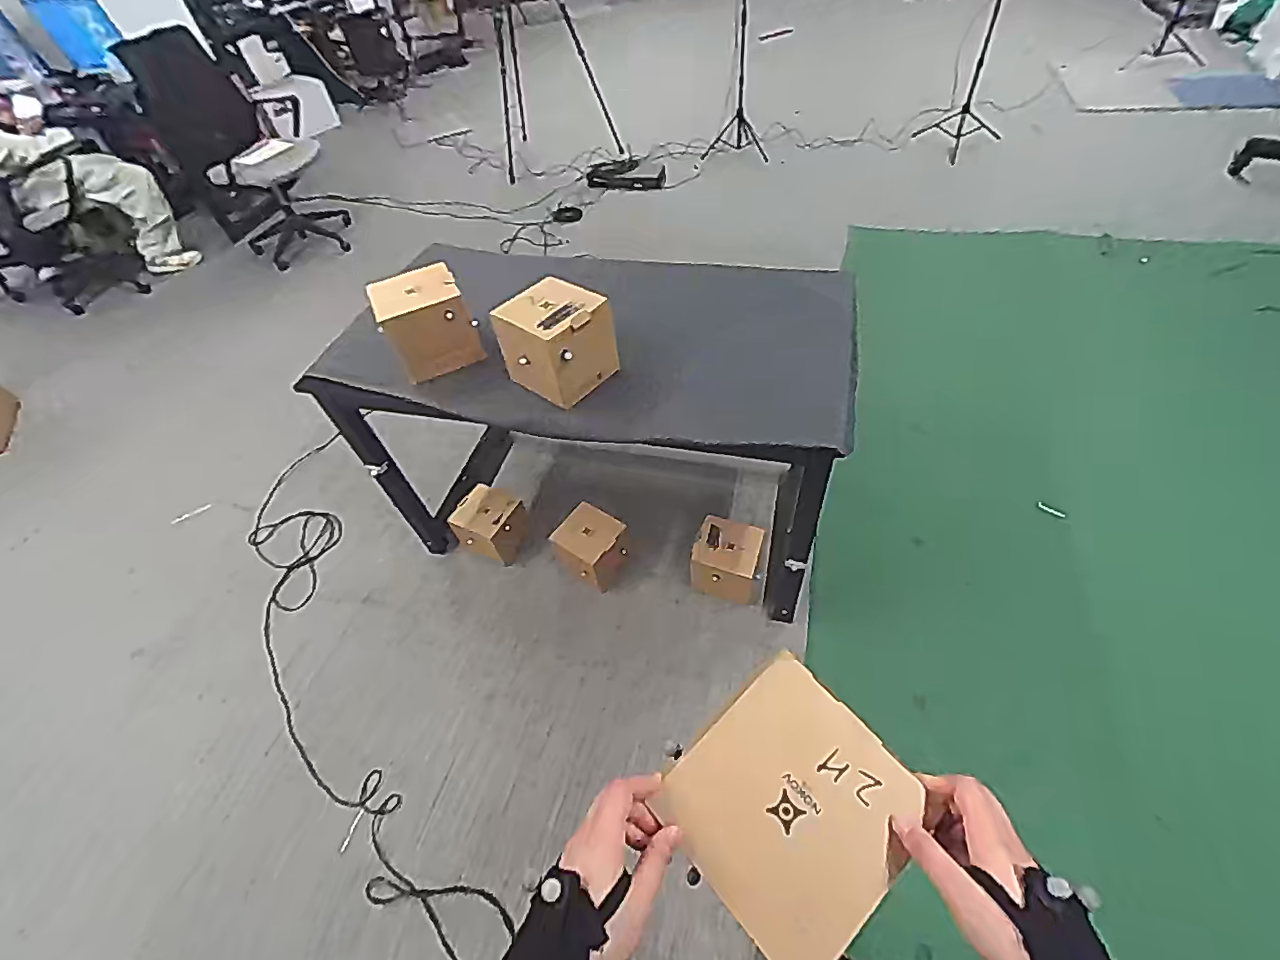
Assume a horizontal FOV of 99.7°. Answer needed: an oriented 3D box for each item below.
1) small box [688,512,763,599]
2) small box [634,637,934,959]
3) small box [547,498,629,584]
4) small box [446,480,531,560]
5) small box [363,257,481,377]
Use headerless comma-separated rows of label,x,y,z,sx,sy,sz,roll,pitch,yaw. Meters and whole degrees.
small box,0.248,0.222,1.570,0.179,0.176,0.168,14,54,16
small box,0.114,0.277,0.493,0.179,0.176,0.168,-39,70,-17
small box,-0.151,0.192,1.646,0.179,0.176,0.168,25,57,27
small box,-0.480,0.132,1.738,0.179,0.176,0.168,18,55,22
small box,-0.476,-0.355,1.192,0.179,0.176,0.168,-24,52,-13
